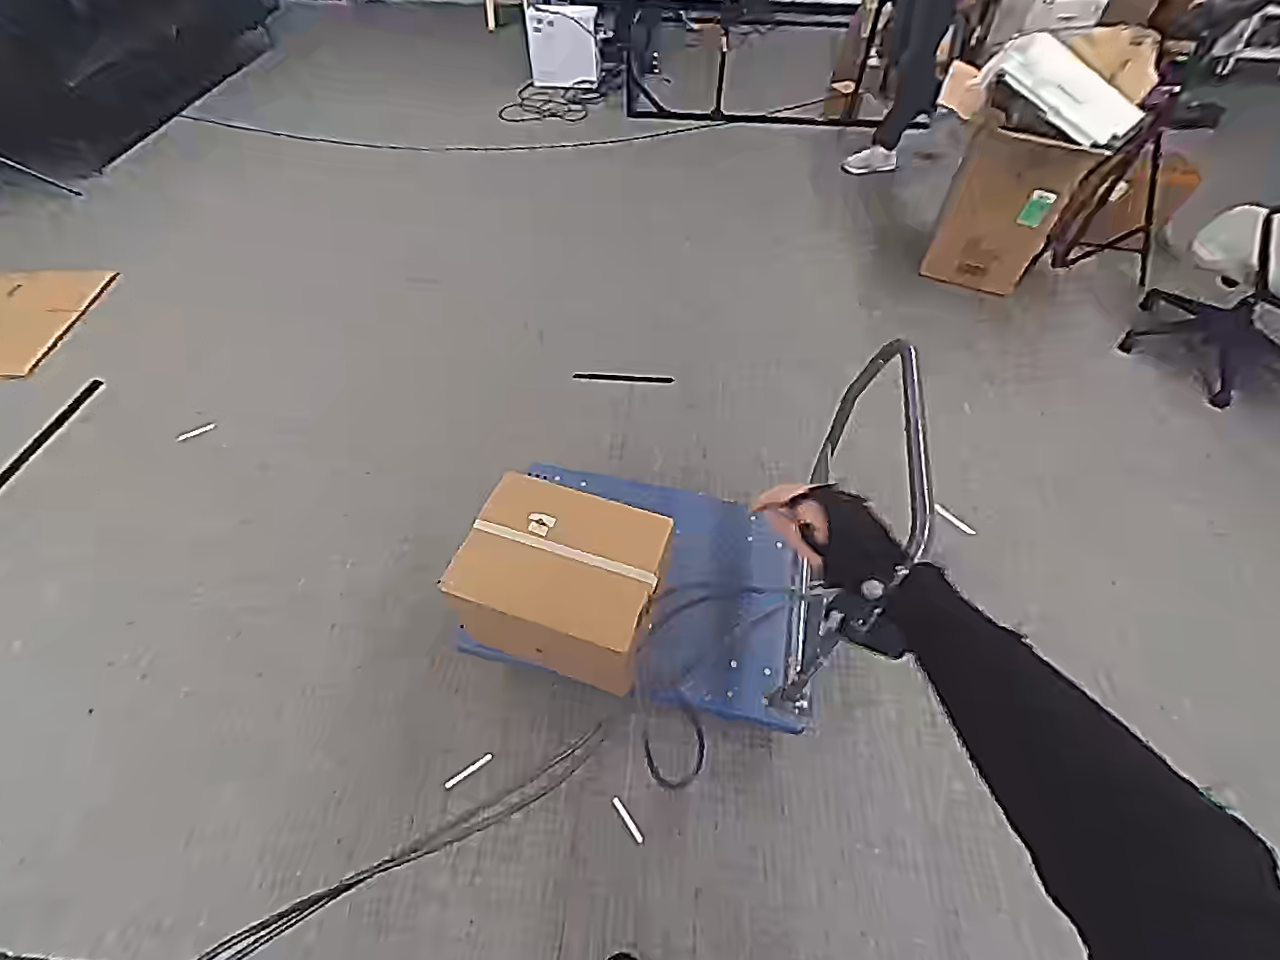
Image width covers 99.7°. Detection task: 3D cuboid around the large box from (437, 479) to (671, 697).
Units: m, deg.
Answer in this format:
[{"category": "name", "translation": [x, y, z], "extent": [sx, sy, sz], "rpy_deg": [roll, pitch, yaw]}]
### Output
[{"category": "large box", "translation": [-0.165, 0.248, 1.227], "extent": [0.408, 0.320, 0.320], "rpy_deg": [15, 54, 11]}]
